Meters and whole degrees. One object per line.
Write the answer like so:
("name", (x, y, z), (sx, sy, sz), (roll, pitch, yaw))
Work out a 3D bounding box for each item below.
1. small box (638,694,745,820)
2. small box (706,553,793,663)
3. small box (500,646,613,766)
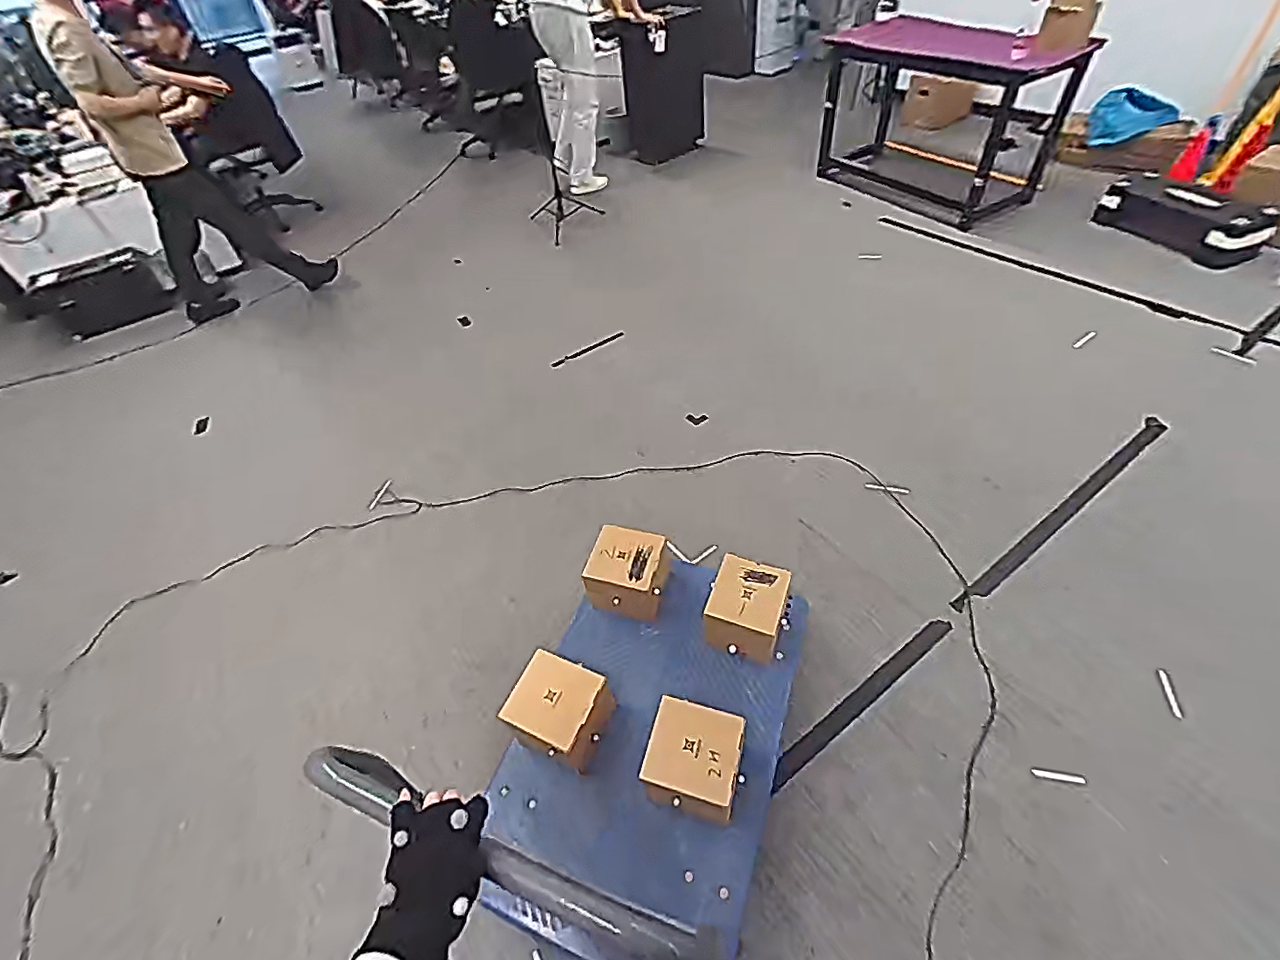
("small box", (0.110, 0.570, 1.109), (0.179, 0.176, 0.168), (11, 51, 17))
("small box", (0.264, 0.314, 1.320), (0.168, 0.176, 0.179), (15, 53, 20))
("small box", (-0.177, 0.506, 1.204), (0.179, 0.176, 0.168), (17, 52, 19))
